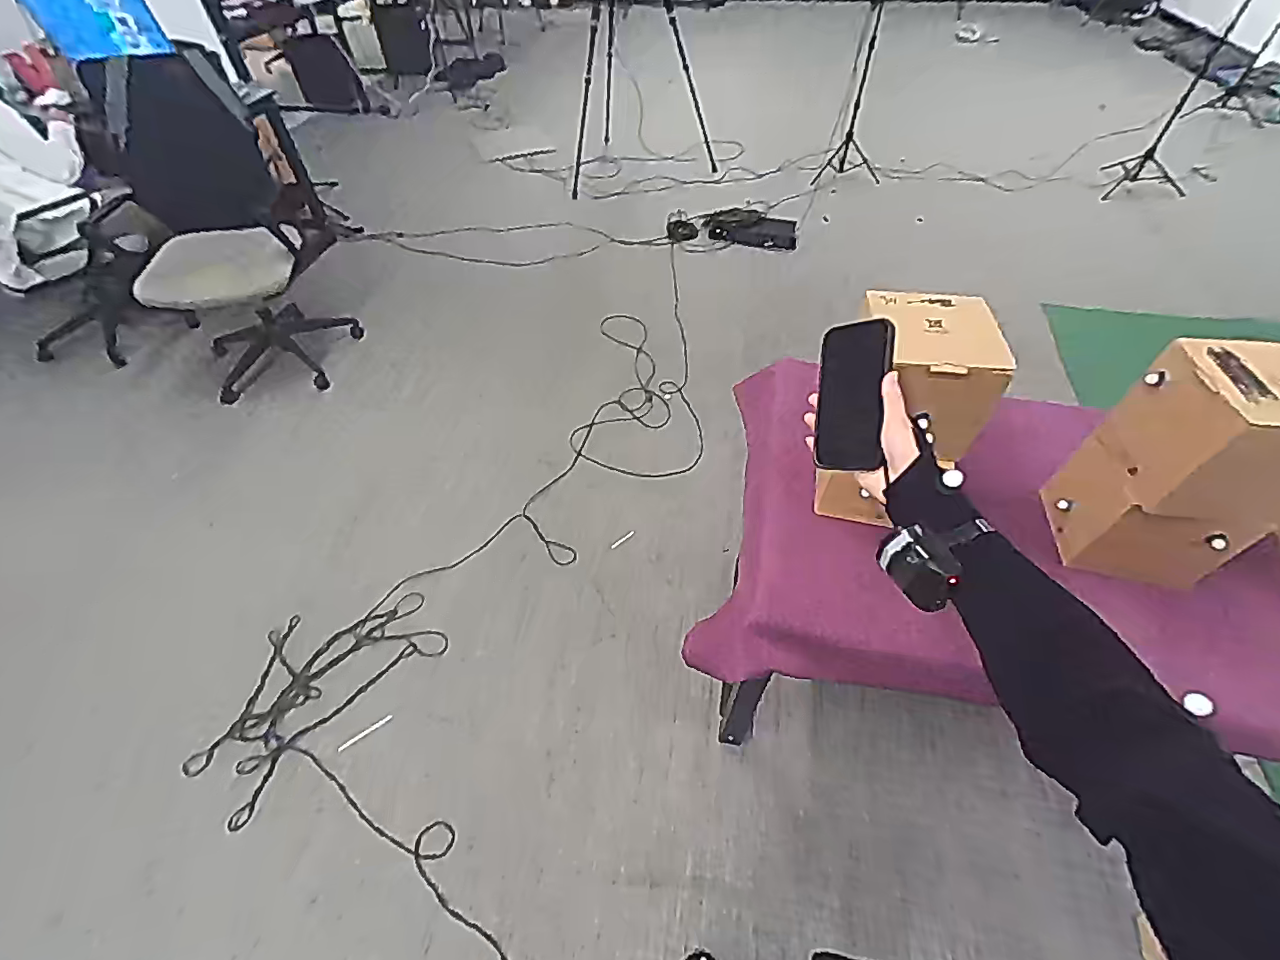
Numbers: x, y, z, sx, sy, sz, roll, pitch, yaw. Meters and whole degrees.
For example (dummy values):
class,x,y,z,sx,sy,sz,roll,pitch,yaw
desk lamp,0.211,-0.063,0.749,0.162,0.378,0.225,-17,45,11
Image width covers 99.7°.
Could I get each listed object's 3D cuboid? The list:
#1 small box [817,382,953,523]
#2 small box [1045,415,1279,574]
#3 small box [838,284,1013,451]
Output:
class,x,y,z,sx,sy,sz,roll,pitch,yaw
small box,0.401,-0.050,0.910,0.168,0.176,0.179,10,51,10
small box,0.776,0.026,0.830,0.179,0.176,0.168,9,51,10
small box,0.398,-0.162,0.790,0.168,0.176,0.179,6,51,7
